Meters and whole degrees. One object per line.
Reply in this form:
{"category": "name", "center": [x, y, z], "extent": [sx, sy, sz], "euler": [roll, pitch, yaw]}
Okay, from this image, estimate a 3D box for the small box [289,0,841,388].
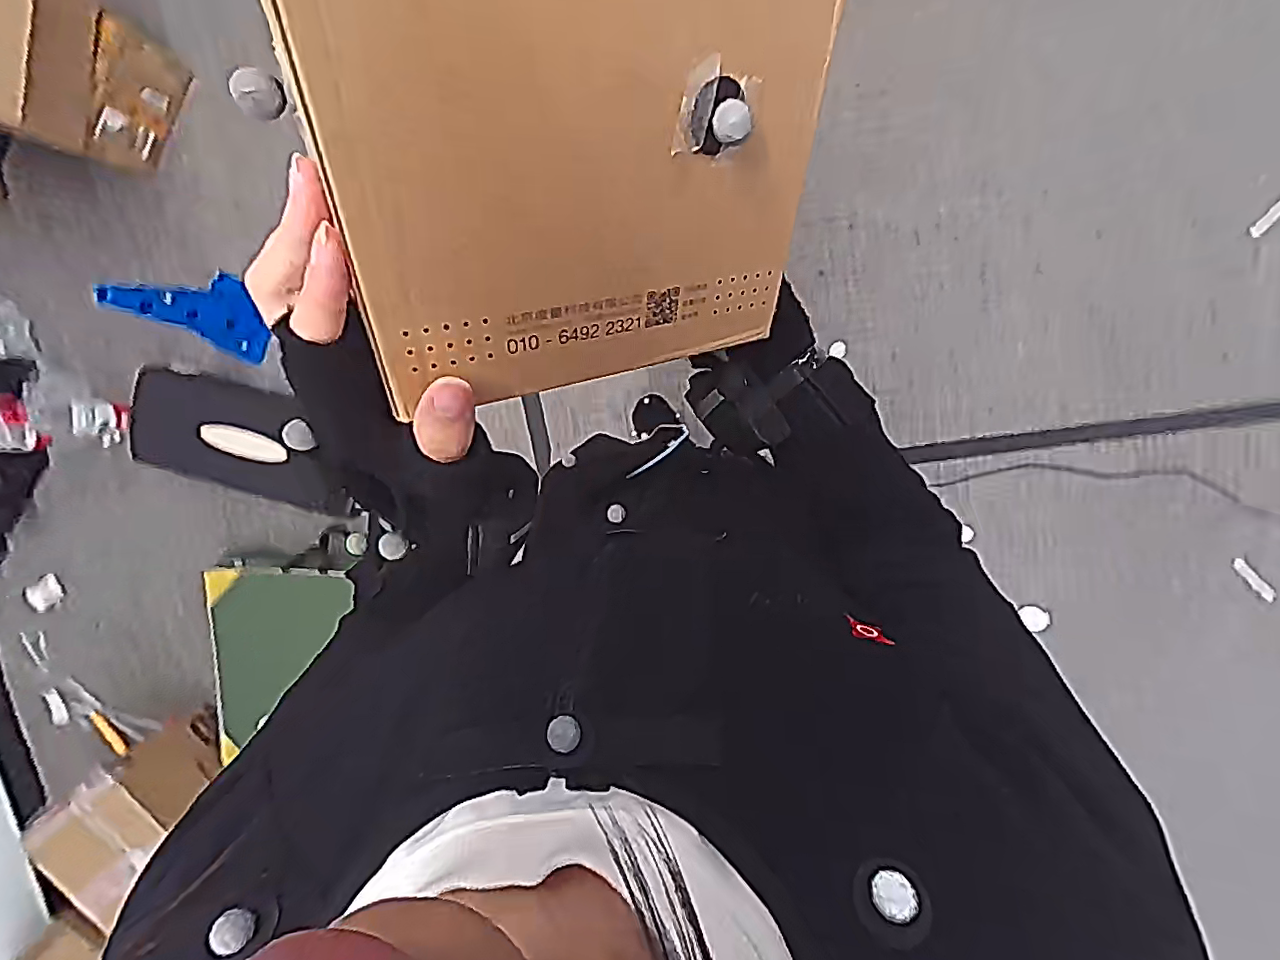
{"category": "small box", "center": [-0.040, -0.152, 0.225], "extent": [0.168, 0.179, 0.176], "euler": [-17, 136, -23]}
